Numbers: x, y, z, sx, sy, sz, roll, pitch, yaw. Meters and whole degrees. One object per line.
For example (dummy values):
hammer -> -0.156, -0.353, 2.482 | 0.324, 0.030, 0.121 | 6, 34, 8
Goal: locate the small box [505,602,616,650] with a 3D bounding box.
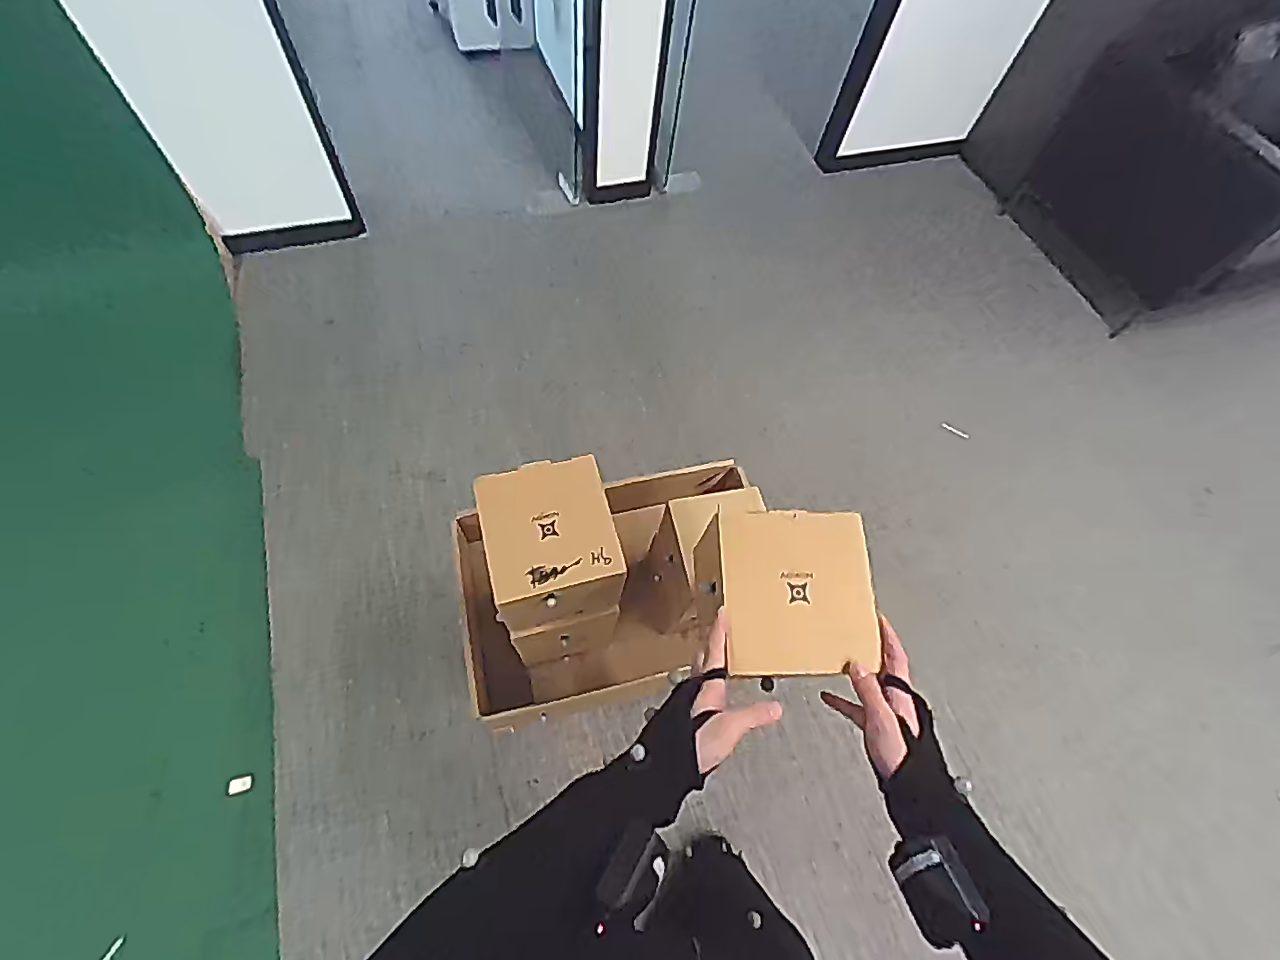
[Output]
small box -> -0.141, 0.176, 0.903 | 0.168, 0.176, 0.179 | -11, 66, -12

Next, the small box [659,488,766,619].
small box -> 0.136, 0.138, 0.955 | 0.168, 0.176, 0.179 | -8, 63, -10

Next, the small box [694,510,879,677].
small box -> 0.160, 0.144, 0.654 | 0.168, 0.176, 0.179 | 0, 68, -3

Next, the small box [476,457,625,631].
small box -> -0.127, 0.094, 0.762 | 0.168, 0.176, 0.179 | -12, 65, -12
